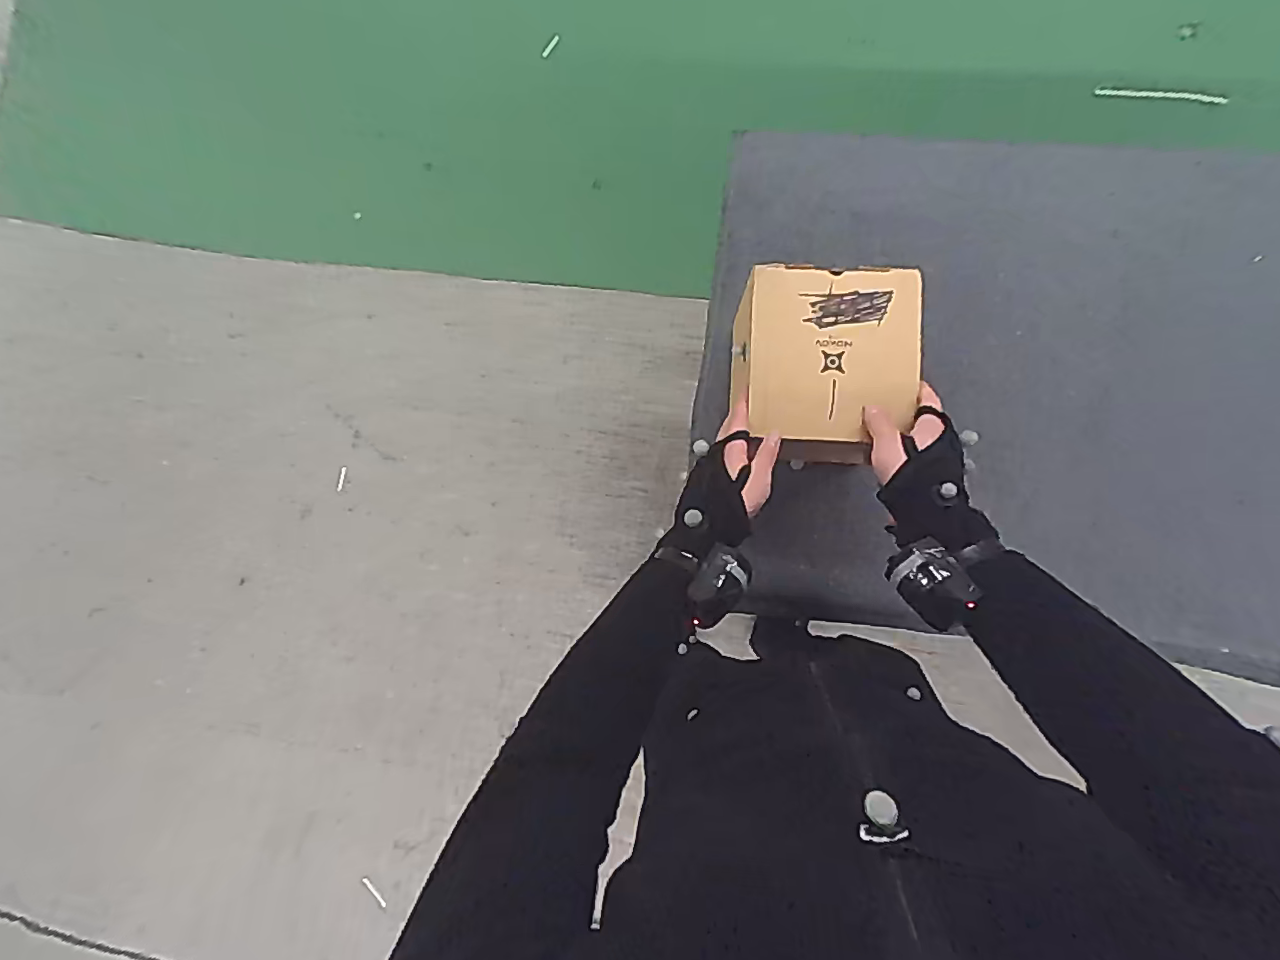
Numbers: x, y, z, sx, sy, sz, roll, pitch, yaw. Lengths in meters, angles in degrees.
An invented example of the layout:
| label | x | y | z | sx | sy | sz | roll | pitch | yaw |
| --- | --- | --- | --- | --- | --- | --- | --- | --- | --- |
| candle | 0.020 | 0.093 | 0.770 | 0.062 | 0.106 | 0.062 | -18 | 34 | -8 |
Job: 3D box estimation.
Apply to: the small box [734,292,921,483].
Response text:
| label | x | y | z | sx | sy | sz | roll | pitch | yaw |
| --- | --- | --- | --- | --- | --- | --- | --- | --- | --- |
| small box | 0.199 | -0.095 | 0.618 | 0.168 | 0.176 | 0.179 | 2 | 85 | 4 |
